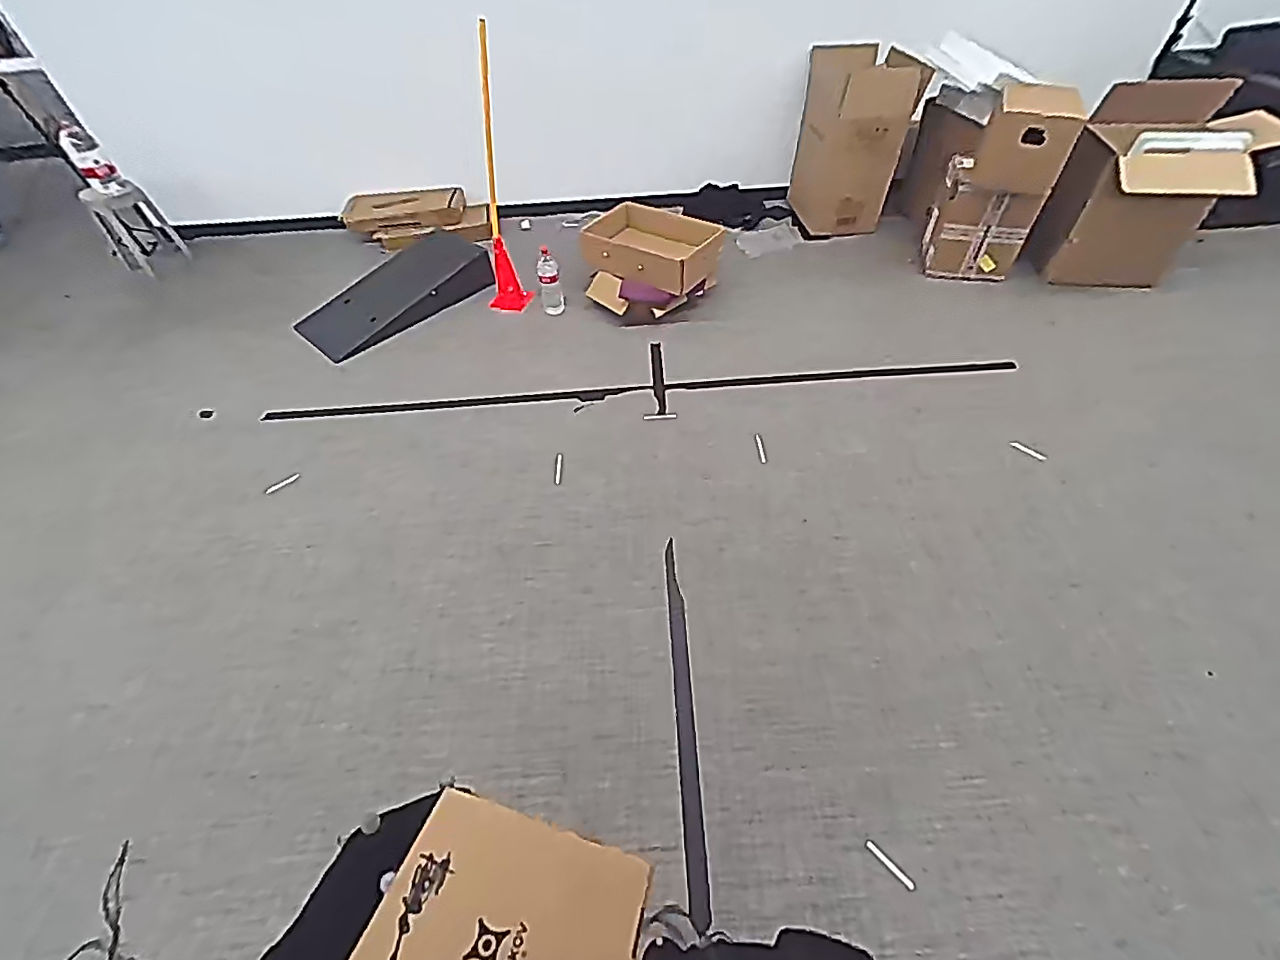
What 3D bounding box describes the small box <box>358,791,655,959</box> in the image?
[{"bbox_3d":[-0.104,0.380,0.404,0.179,0.176,0.168,16,34,7],"label":"small box"}]
